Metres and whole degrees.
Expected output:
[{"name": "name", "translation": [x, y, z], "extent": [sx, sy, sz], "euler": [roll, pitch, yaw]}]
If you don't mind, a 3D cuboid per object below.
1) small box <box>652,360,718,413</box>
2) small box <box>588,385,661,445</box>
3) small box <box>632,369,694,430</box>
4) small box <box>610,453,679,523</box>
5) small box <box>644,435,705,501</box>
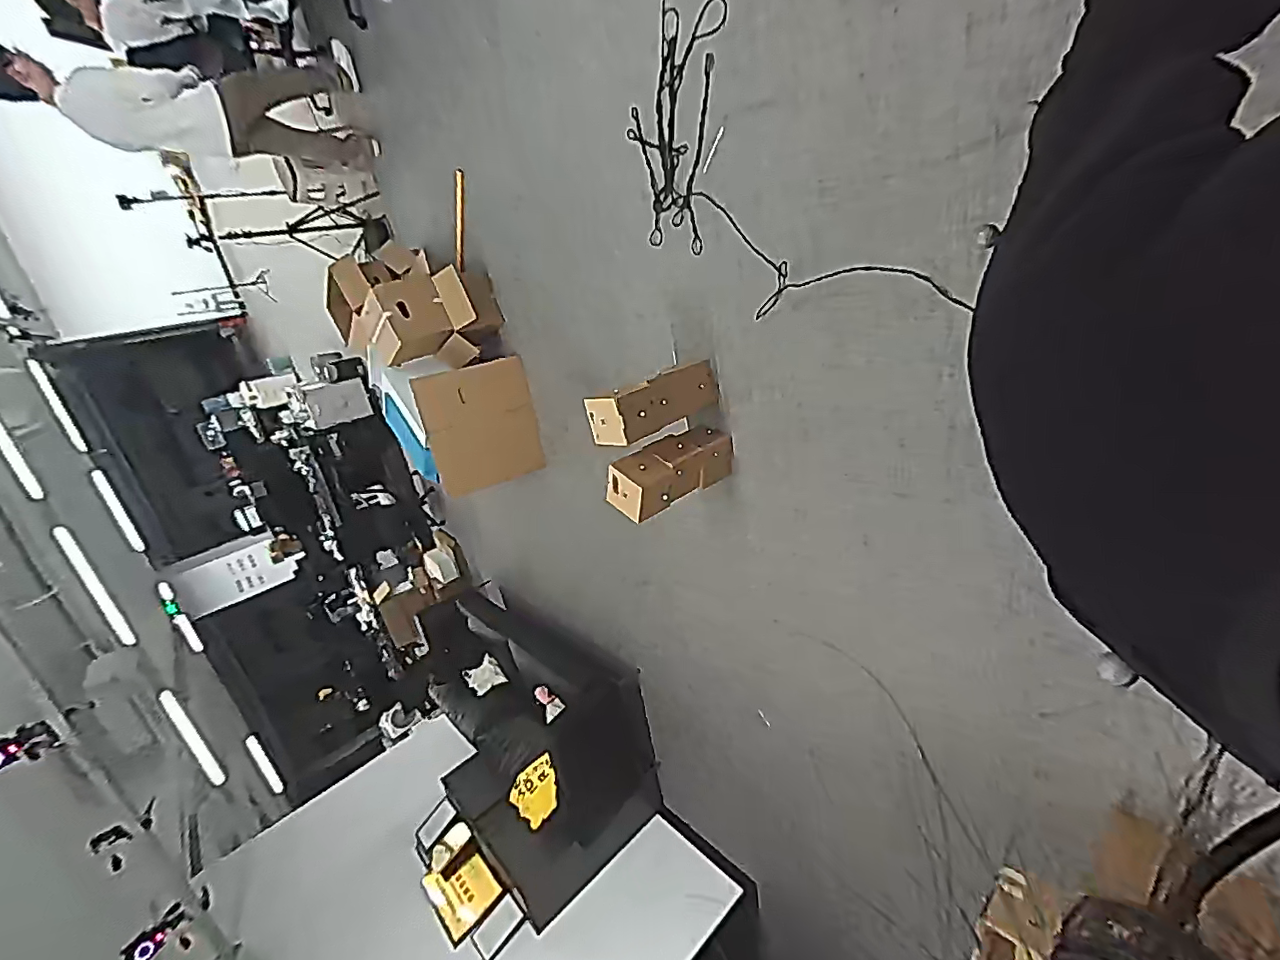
[{"name": "small box", "translation": [0.179, -0.353, 2.059], "extent": [0.179, 0.176, 0.168], "euler": [4, 114, 51]}, {"name": "small box", "translation": [-0.046, -0.227, 1.859], "extent": [0.179, 0.176, 0.168], "euler": [8, 118, 48]}, {"name": "small box", "translation": [0.070, -0.285, 1.958], "extent": [0.168, 0.176, 0.179], "euler": [-3, 110, 52]}, {"name": "small box", "translation": [0.014, 0.019, 1.942], "extent": [0.179, 0.176, 0.168], "euler": [36, 136, 33]}, {"name": "small box", "translation": [0.129, -0.044, 2.041], "extent": [0.168, 0.176, 0.179], "euler": [33, 134, 37]}]
